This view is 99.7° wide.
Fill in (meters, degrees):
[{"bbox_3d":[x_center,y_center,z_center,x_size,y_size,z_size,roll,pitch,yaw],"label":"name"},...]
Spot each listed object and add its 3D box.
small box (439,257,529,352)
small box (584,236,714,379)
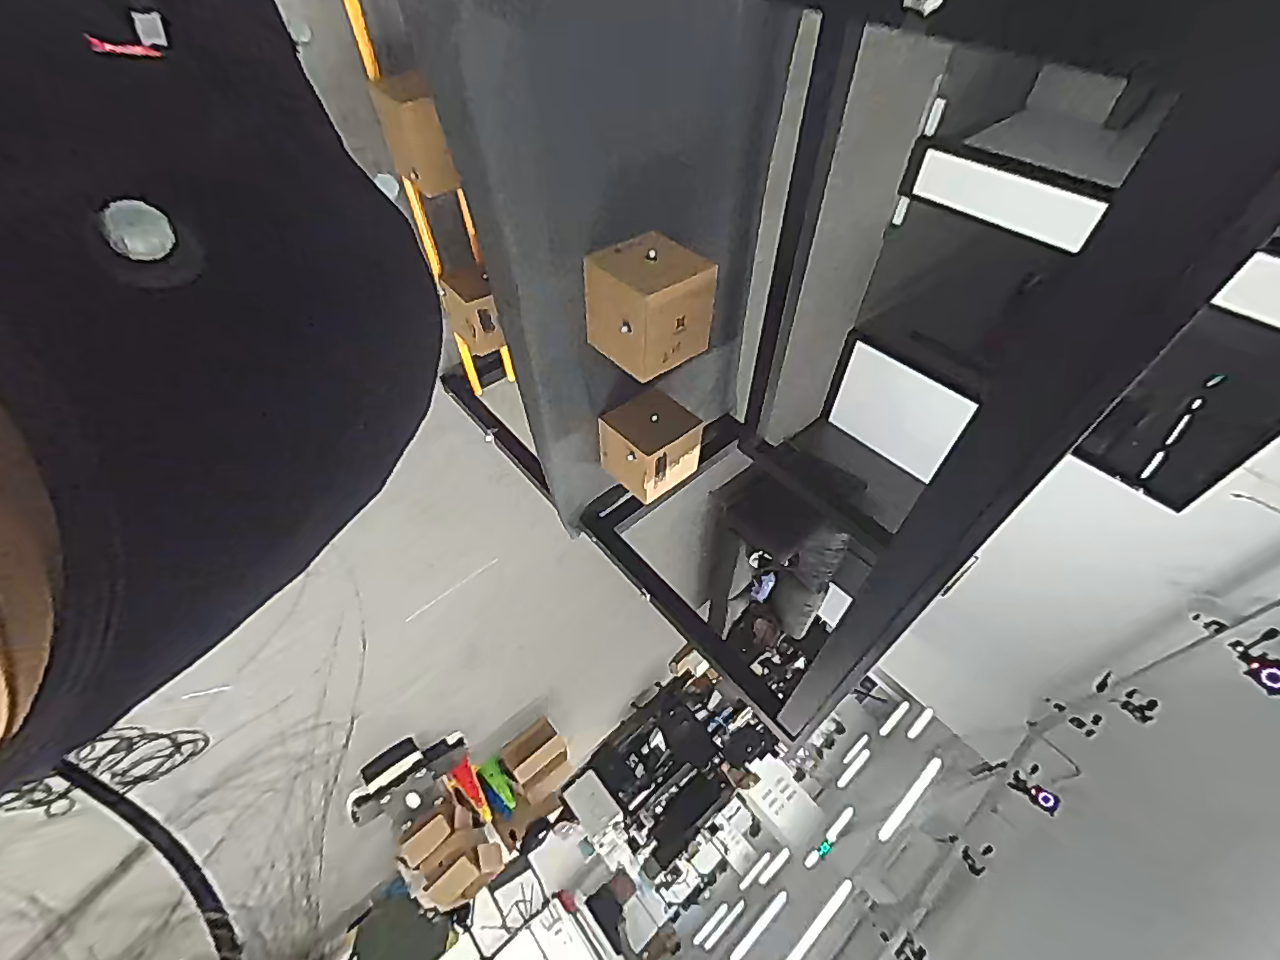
[{"bbox_3d":[-0.431,-0.484,1.484,0.179,0.176,0.168,-32,148,-27],"label":"small box"},{"bbox_3d":[0.010,-0.321,0.984,0.168,0.176,0.179,-32,148,-26],"label":"small box"}]
